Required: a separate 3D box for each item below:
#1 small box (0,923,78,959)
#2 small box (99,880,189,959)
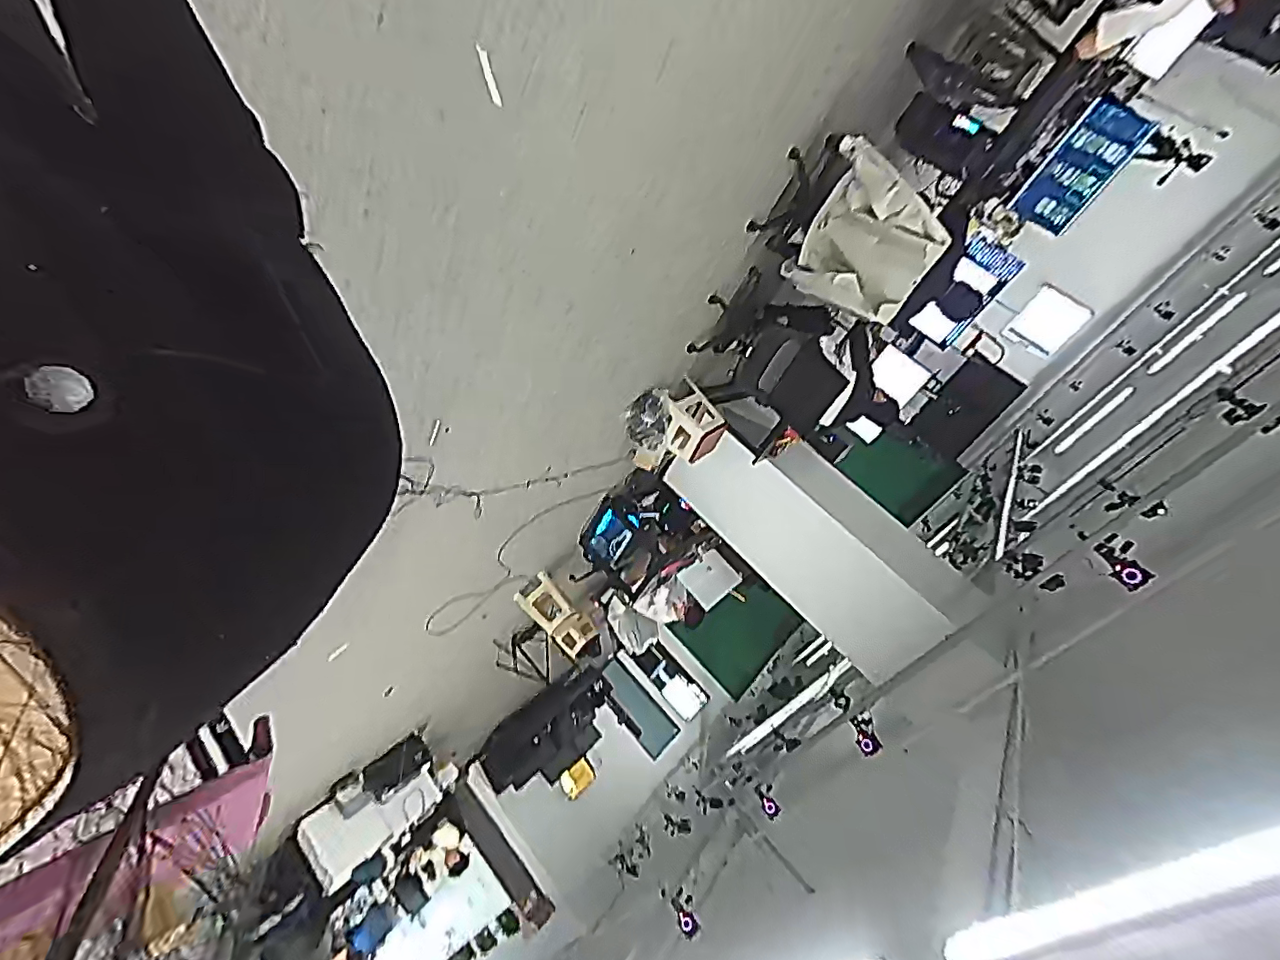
[{"bbox_3d":[-1.585,1.311,1.407,0.168,0.176,0.179,-21,150,-52],"label":"small box"},{"bbox_3d":[-1.542,1.399,1.683,0.168,0.176,0.179,-21,148,-51],"label":"small box"}]
